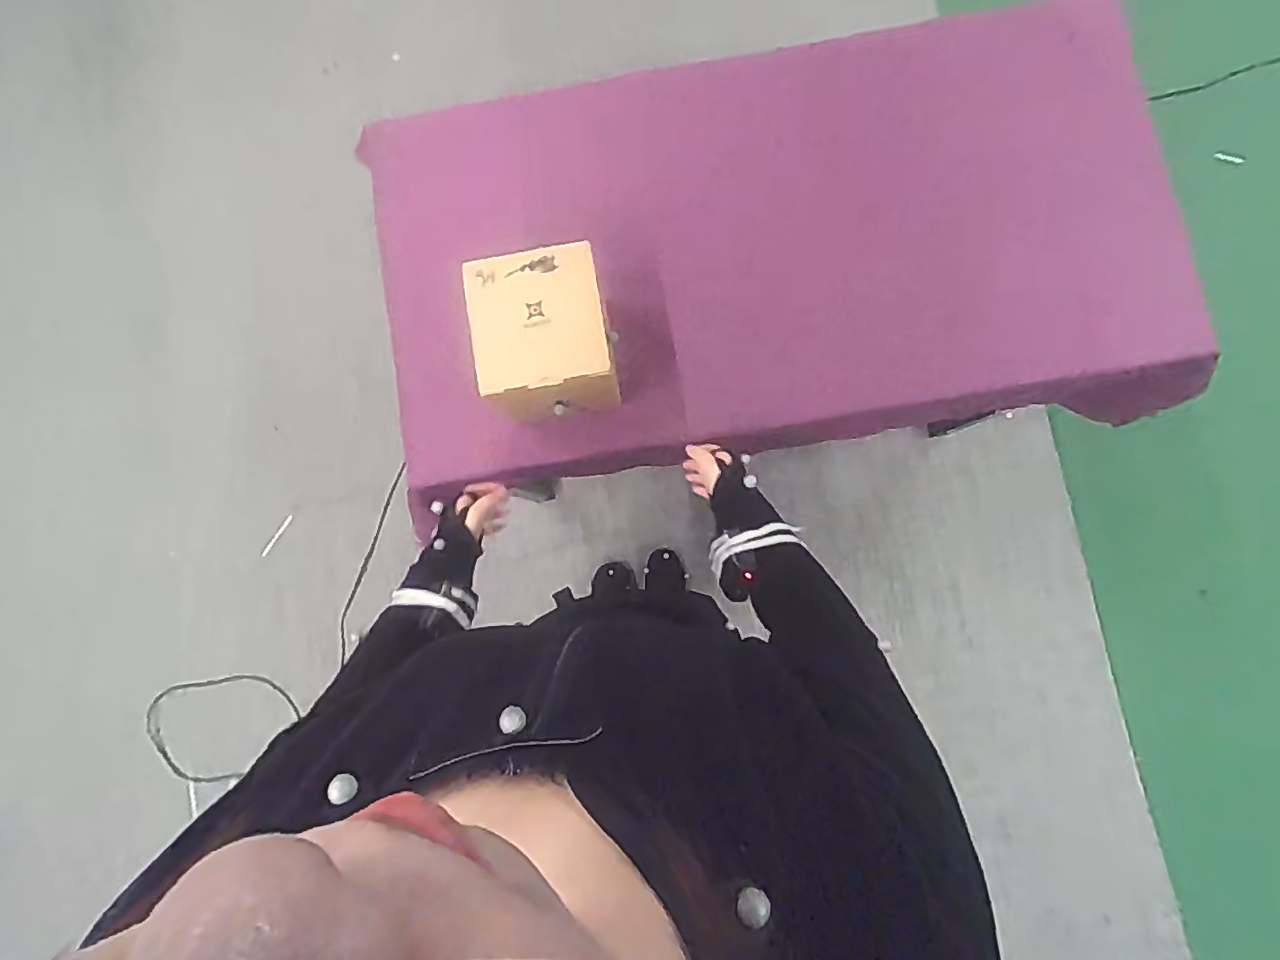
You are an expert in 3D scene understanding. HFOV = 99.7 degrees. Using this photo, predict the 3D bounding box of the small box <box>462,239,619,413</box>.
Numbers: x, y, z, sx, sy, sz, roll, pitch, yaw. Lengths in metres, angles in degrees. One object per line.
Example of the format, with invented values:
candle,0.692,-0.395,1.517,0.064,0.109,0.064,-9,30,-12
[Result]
small box,-0.126,-0.196,0.746,0.168,0.176,0.179,-9,84,2
